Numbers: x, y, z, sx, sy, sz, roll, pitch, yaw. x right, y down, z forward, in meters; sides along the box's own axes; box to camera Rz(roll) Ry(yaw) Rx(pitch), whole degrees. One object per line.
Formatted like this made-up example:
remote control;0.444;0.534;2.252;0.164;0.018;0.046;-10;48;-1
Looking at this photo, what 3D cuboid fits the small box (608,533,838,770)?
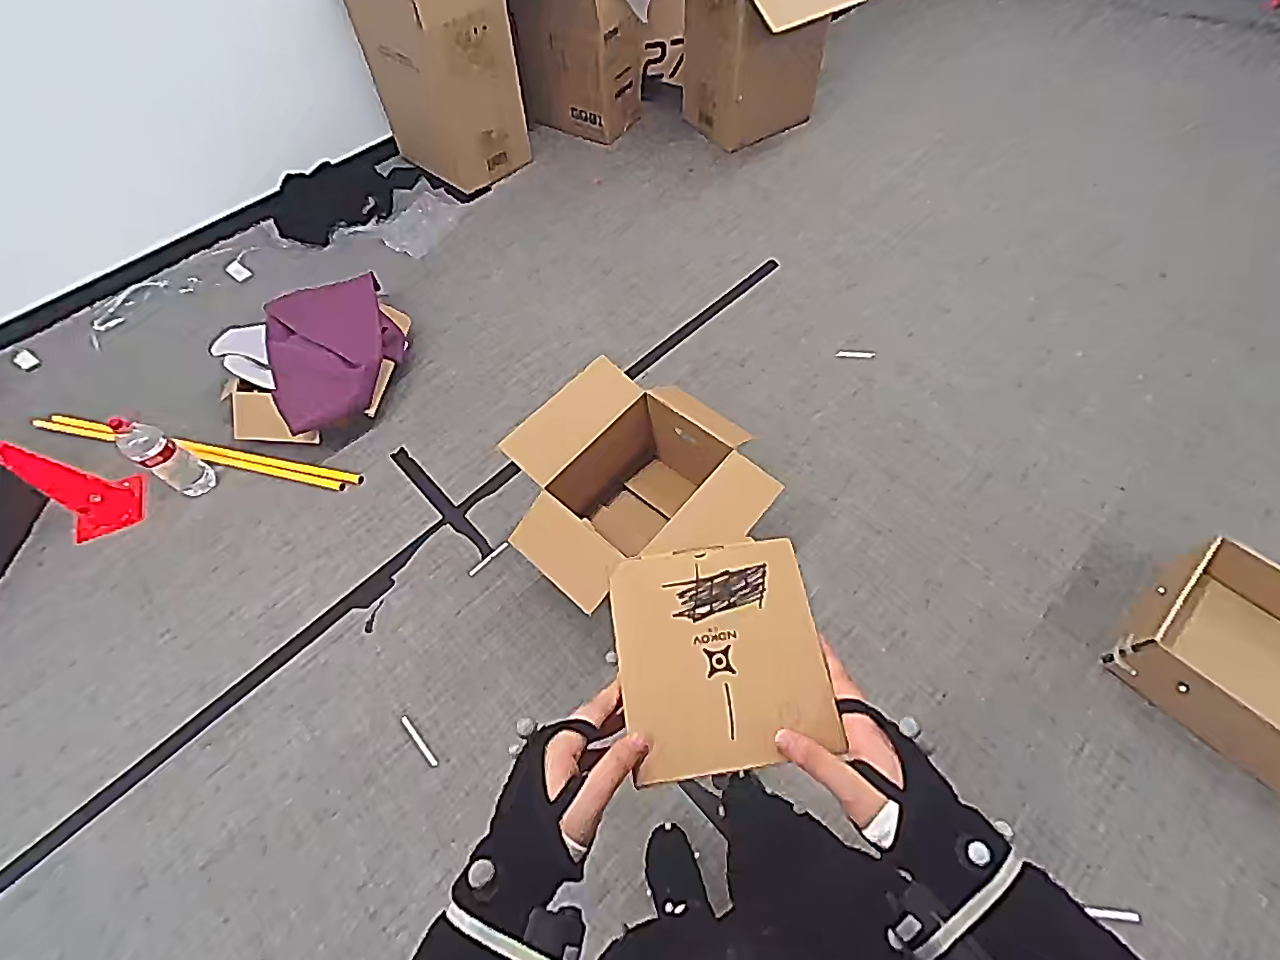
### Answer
small box;0.061;0.170;0.517;0.168;0.176;0.179;-8;63;-3
